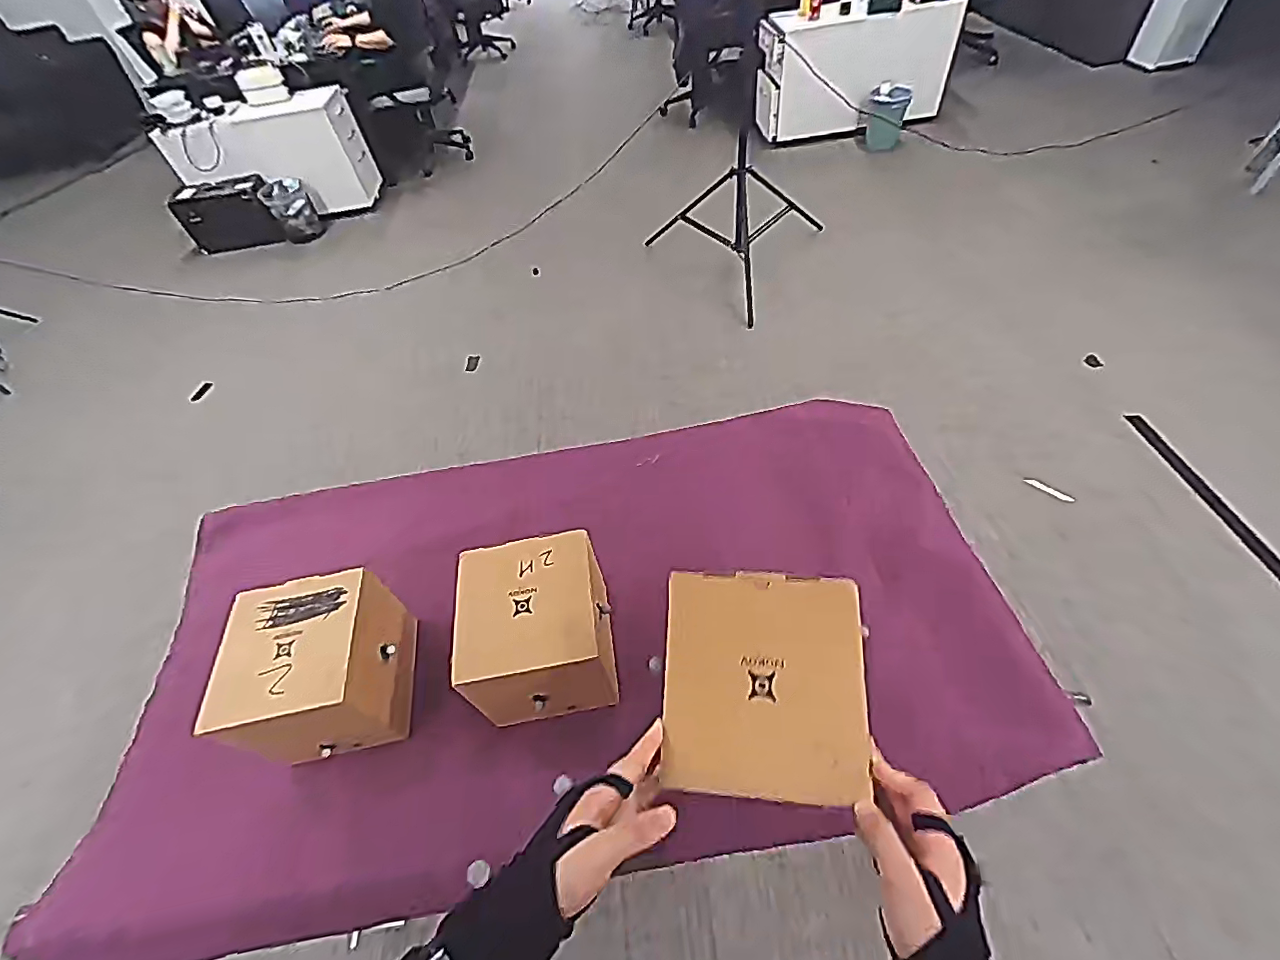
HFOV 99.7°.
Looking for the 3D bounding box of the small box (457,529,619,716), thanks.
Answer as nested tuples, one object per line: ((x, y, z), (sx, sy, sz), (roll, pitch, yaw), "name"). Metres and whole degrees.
((-0.125, 0.193, 0.707), (0.168, 0.176, 0.179), (-10, 50, -1), "small box")

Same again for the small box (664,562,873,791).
((0.118, 0.188, 0.532), (0.168, 0.176, 0.179), (1, 67, 8), "small box")
